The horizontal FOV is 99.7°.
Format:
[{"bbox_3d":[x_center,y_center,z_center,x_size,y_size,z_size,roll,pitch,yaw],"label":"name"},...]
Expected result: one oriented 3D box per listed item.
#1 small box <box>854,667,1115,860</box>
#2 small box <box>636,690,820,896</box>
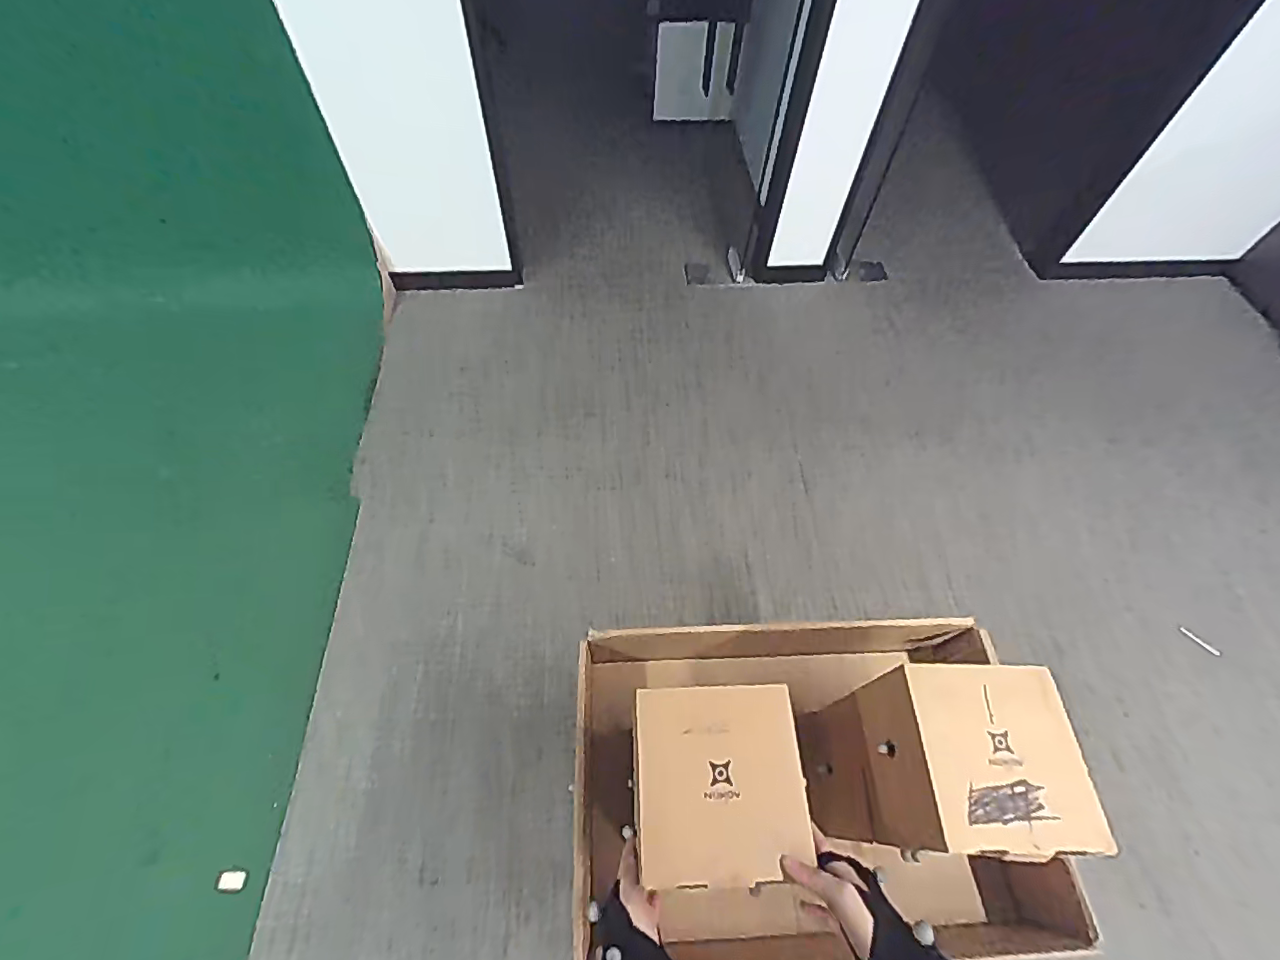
[{"bbox_3d":[0.369,0.325,0.622,0.168,0.176,0.179,1,57,-1],"label":"small box"},{"bbox_3d":[0.081,0.342,0.602,0.168,0.176,0.179,0,58,-3],"label":"small box"}]
